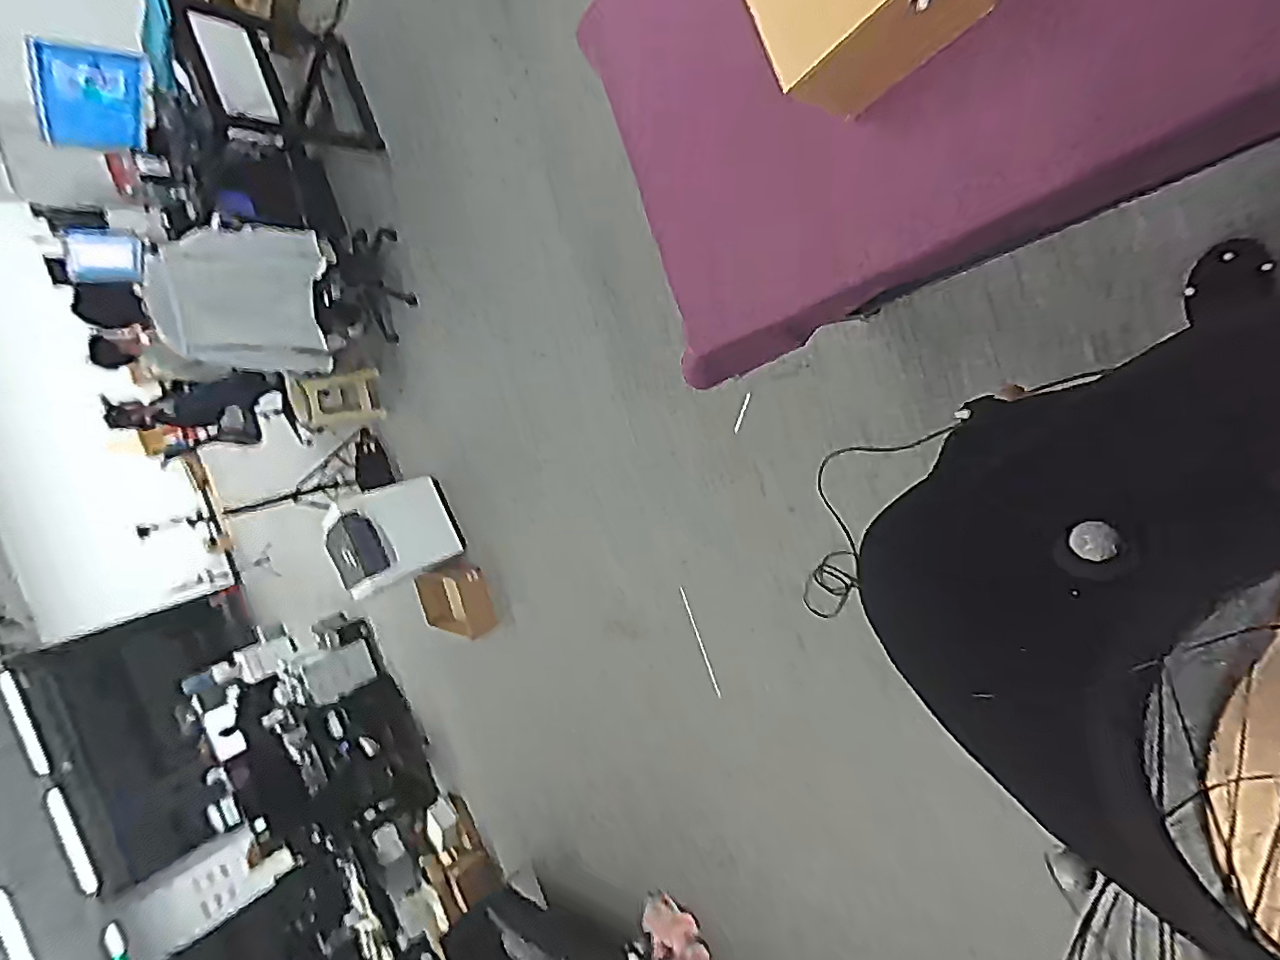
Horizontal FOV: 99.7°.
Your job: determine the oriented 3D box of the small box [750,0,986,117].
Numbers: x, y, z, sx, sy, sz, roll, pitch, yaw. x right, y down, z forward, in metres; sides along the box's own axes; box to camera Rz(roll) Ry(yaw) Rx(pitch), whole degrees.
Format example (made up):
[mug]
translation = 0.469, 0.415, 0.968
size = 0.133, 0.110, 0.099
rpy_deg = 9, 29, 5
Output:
[small box]
translation = 0.241, -0.537, 0.583
size = 0.179, 0.176, 0.168
rpy_deg = -22, 89, 45
